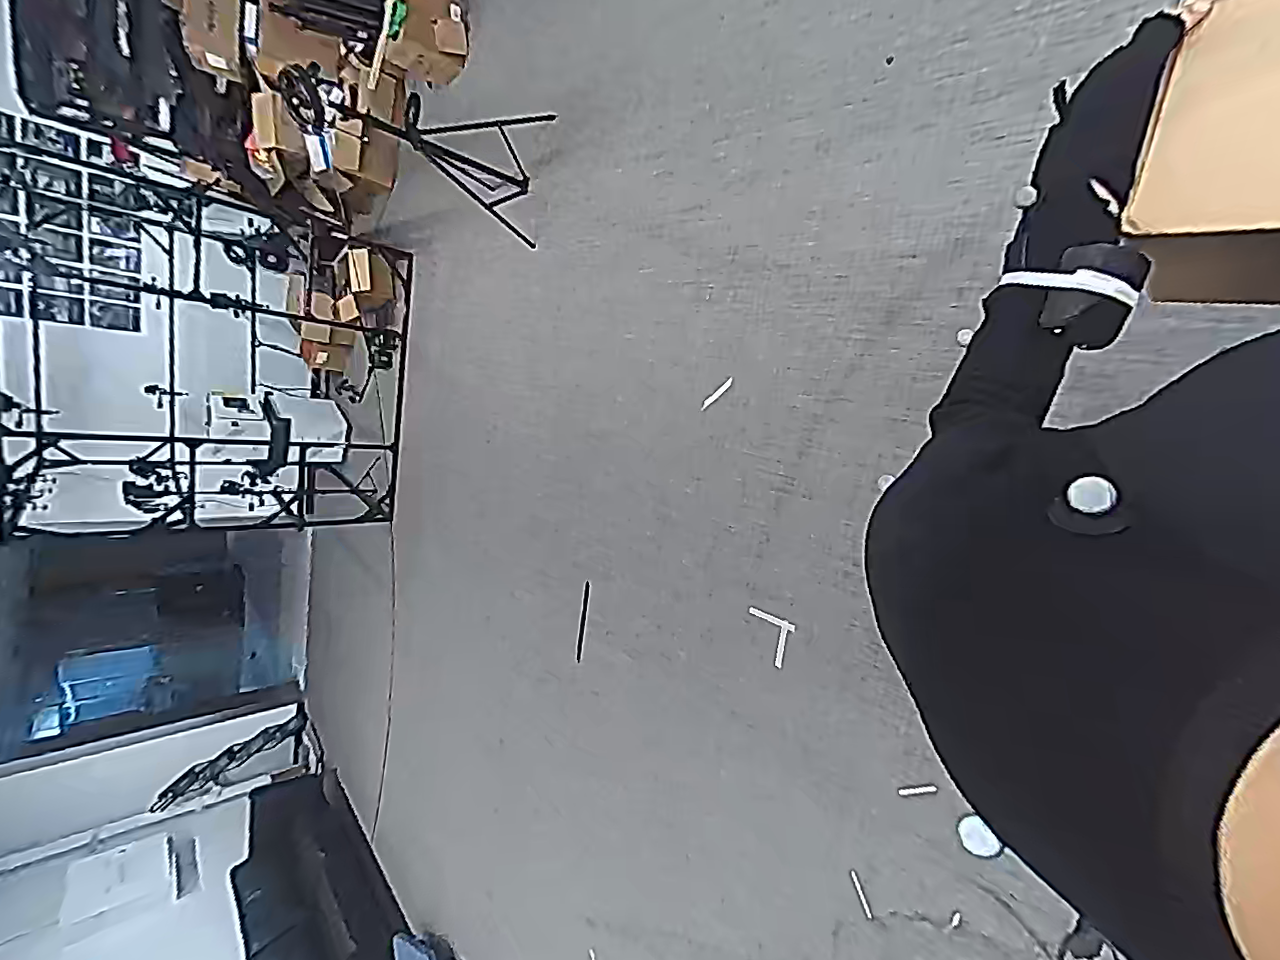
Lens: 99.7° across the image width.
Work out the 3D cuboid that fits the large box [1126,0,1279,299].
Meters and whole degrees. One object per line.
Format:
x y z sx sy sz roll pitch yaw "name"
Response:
0.627 -0.302 0.348 0.408 0.320 0.320 20 109 43 "large box"
